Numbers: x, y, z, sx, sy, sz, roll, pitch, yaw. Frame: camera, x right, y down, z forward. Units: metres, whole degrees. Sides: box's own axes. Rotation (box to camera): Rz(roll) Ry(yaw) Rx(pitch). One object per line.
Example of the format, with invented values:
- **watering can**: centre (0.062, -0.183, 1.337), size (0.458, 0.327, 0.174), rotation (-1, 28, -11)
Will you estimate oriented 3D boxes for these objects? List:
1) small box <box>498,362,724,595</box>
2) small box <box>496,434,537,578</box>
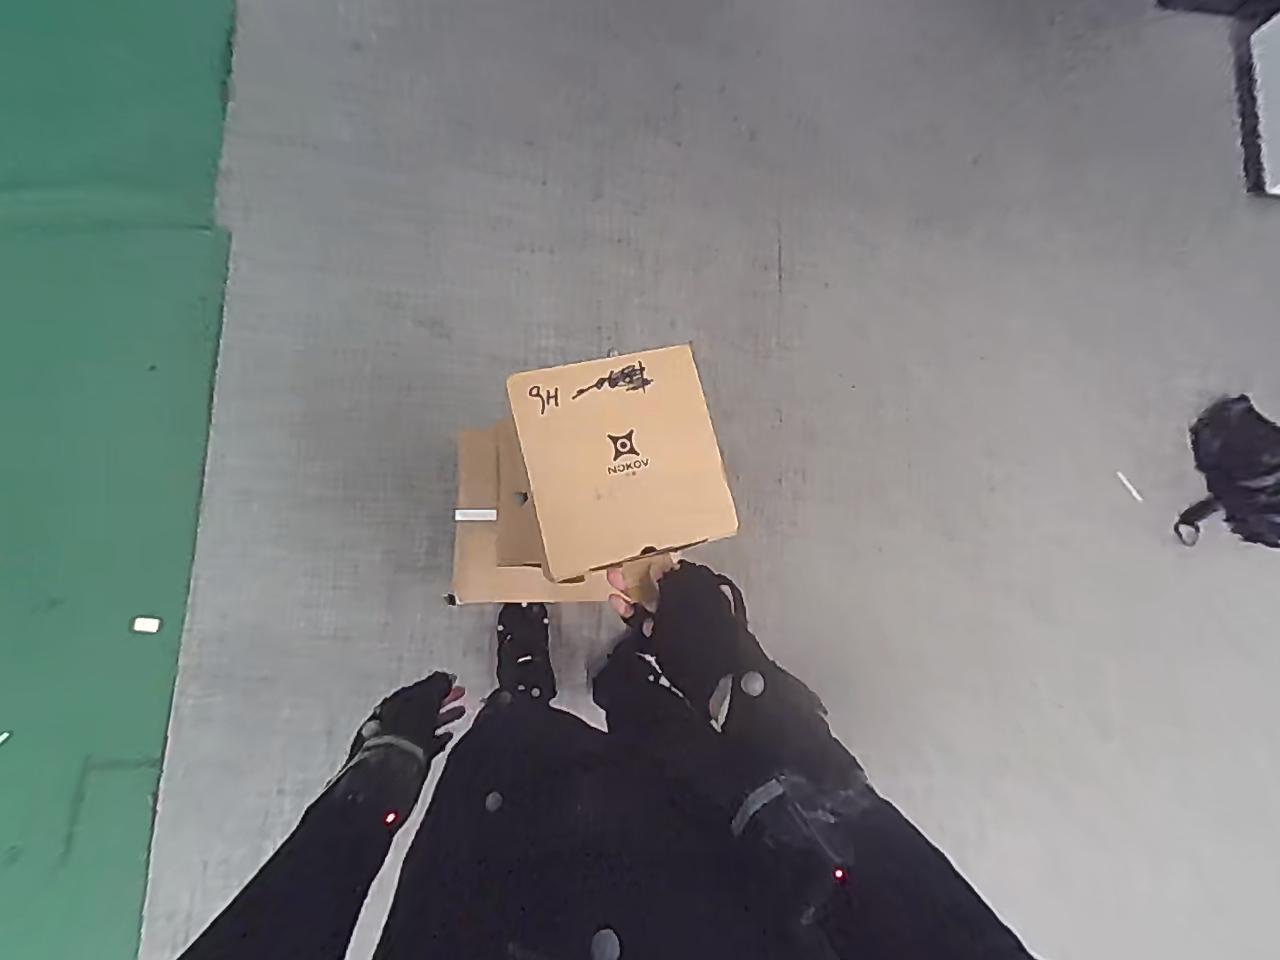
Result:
- **small box**: centre (-0.036, 0.004, 0.542), size (0.168, 0.176, 0.179), rotation (-13, 84, -12)
- **small box**: centre (-0.099, 0.032, 0.736), size (0.168, 0.176, 0.179), rotation (-2, 87, -7)
